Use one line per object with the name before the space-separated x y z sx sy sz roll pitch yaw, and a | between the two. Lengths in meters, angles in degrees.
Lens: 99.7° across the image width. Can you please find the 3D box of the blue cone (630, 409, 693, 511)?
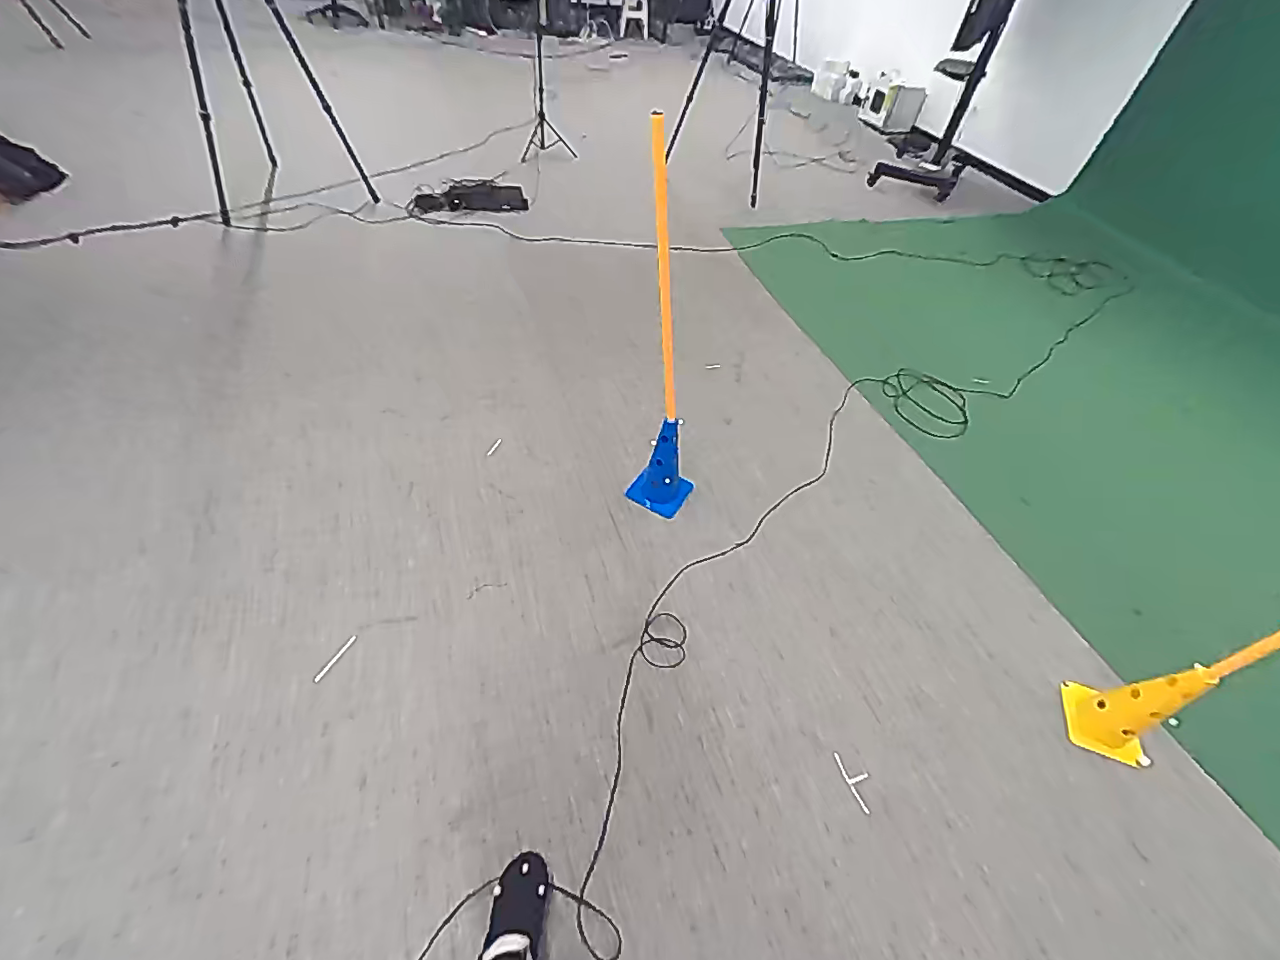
blue cone | 0.089 -0.084 1.843 0.193 0.380 0.192 25 51 16
